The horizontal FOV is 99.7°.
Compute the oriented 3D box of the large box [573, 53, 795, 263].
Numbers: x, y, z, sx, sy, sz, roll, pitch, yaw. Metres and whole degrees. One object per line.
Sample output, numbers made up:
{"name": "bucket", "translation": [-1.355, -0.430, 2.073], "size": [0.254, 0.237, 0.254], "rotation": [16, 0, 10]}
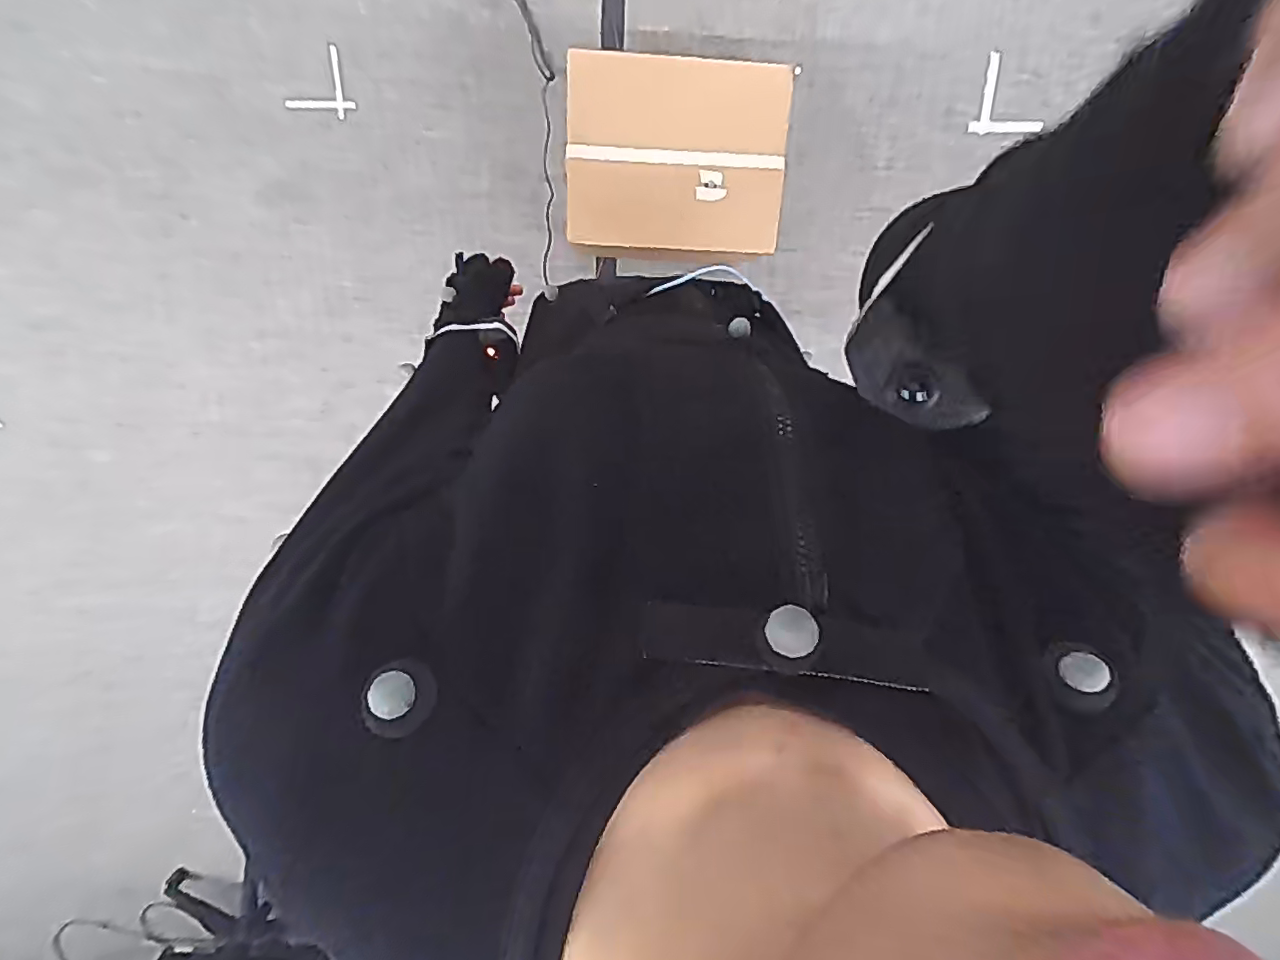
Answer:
{"name": "large box", "translation": [0.065, -0.643, 1.146], "size": [0.408, 0.320, 0.320], "rotation": [2, 109, -4]}
